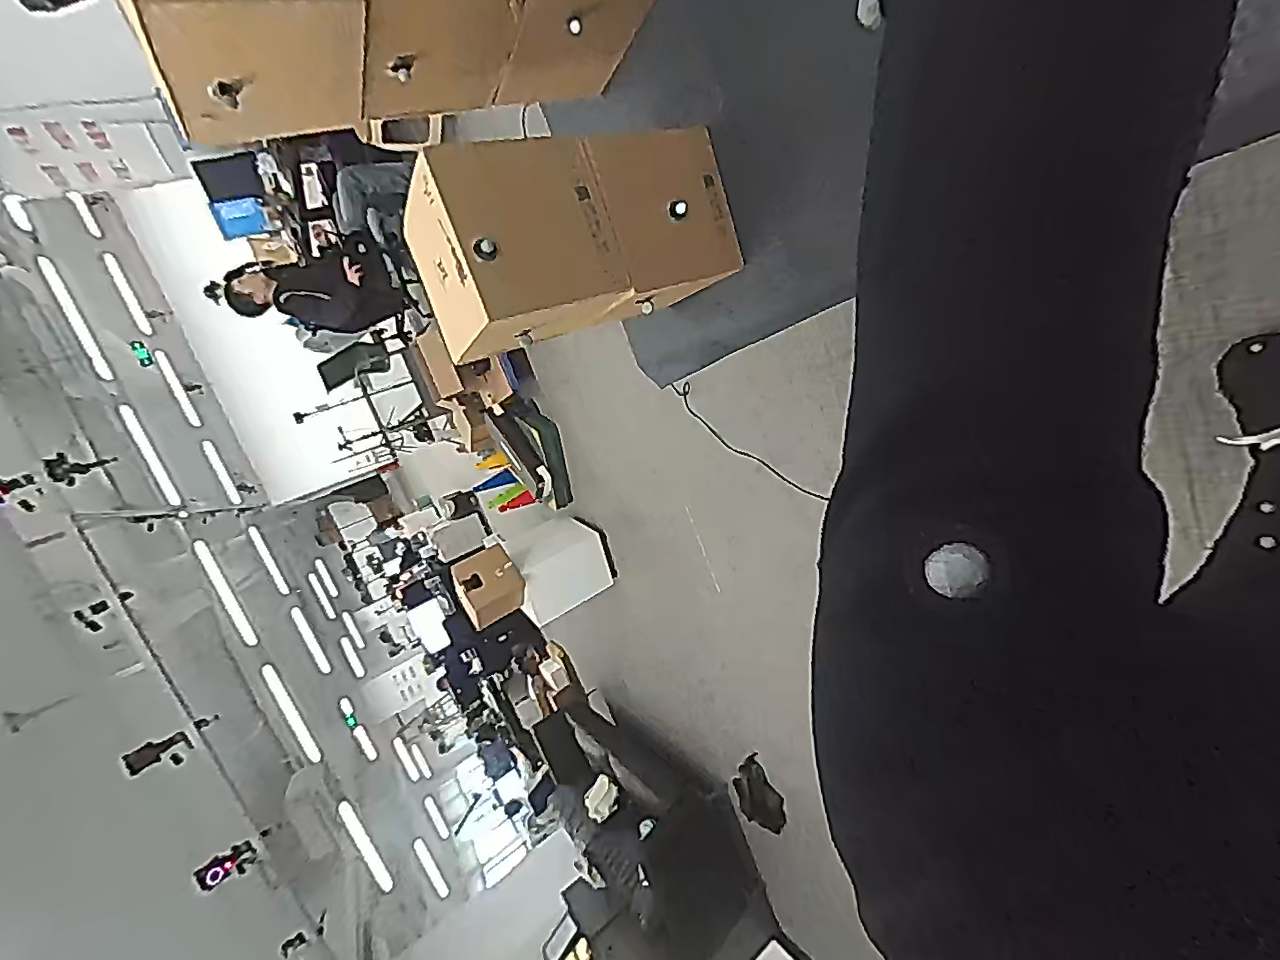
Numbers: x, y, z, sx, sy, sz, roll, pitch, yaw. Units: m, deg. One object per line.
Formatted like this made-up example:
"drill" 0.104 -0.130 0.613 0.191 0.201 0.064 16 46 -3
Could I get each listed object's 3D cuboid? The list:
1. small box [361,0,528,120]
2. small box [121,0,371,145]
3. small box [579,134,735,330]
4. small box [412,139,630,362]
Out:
"small box" -0.237 -0.515 0.560 0.179 0.176 0.168 -11 106 61
"small box" -0.361 -0.439 0.483 0.179 0.176 0.168 -7 109 61
"small box" -0.001 -0.306 0.680 0.179 0.176 0.168 1 112 60
"small box" -0.136 -0.249 0.607 0.179 0.176 0.168 -6 106 62
